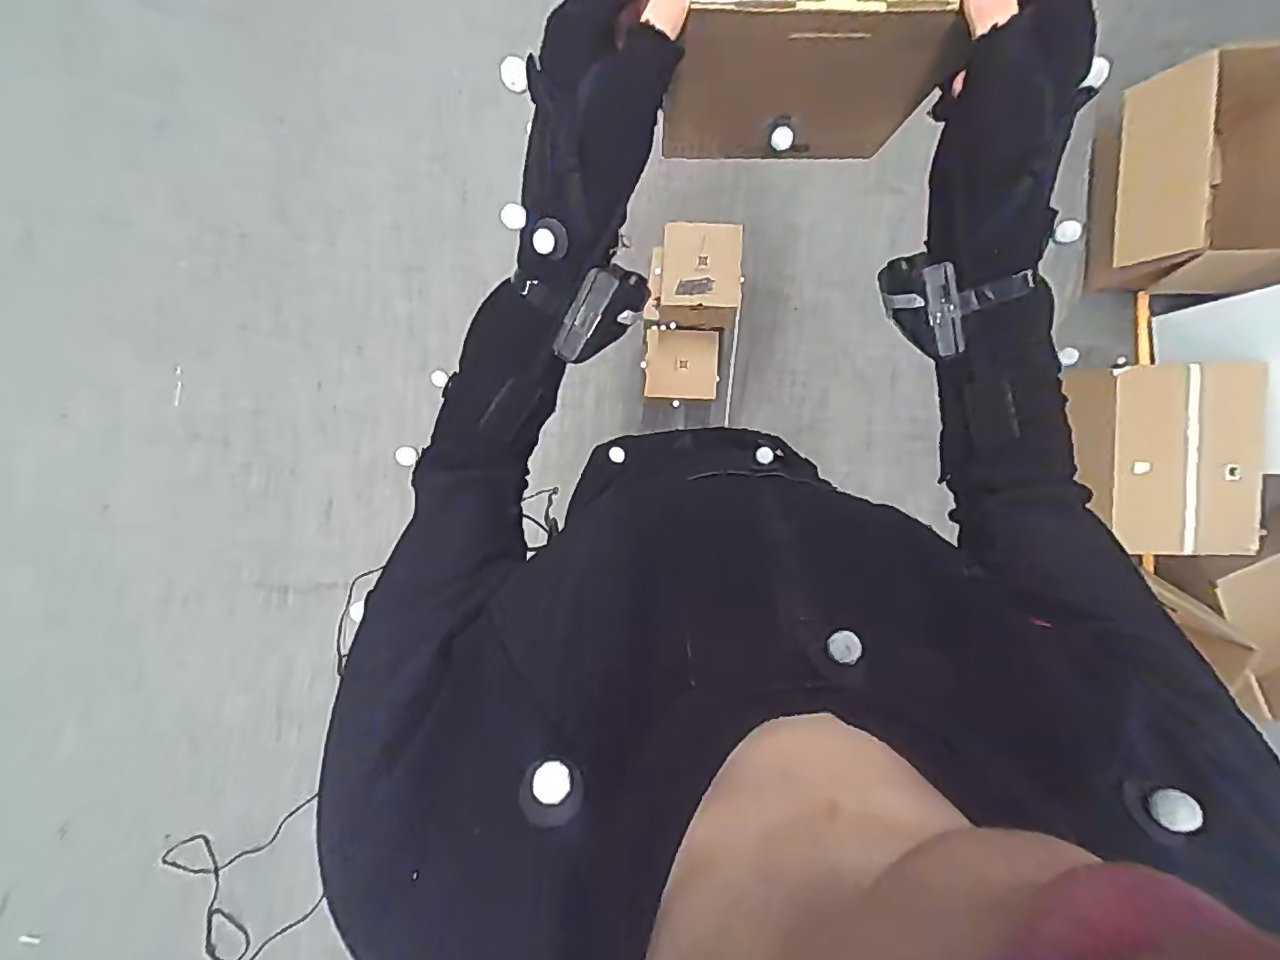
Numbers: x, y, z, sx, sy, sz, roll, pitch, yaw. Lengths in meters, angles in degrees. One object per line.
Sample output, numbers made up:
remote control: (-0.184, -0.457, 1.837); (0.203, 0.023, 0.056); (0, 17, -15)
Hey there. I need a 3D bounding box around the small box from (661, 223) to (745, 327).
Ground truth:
small box: (0.134, -0.446, 1.202); (0.168, 0.176, 0.179); (3, 92, 1)
